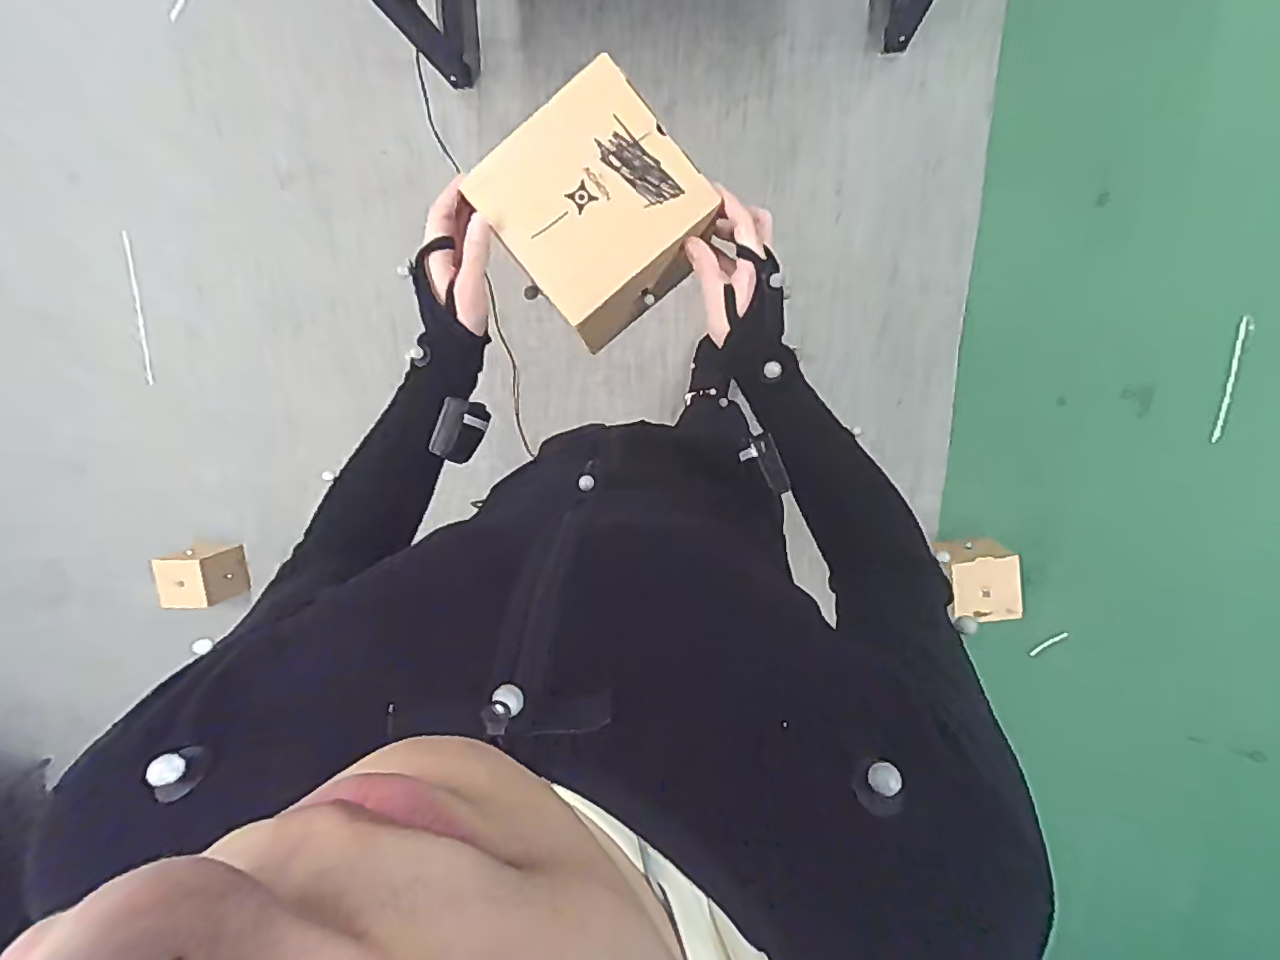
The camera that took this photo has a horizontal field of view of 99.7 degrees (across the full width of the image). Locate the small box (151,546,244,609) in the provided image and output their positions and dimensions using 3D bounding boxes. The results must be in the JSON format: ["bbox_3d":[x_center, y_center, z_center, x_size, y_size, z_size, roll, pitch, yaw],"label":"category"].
[{"bbox_3d":[-1.475,0.323,1.820,0.179,0.176,0.168,-1,100,8],"label":"small box"}]

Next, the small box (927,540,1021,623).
[{"bbox_3d":[0.905,0.269,1.478,0.168,0.176,0.179,-8,100,9],"label":"small box"}]
